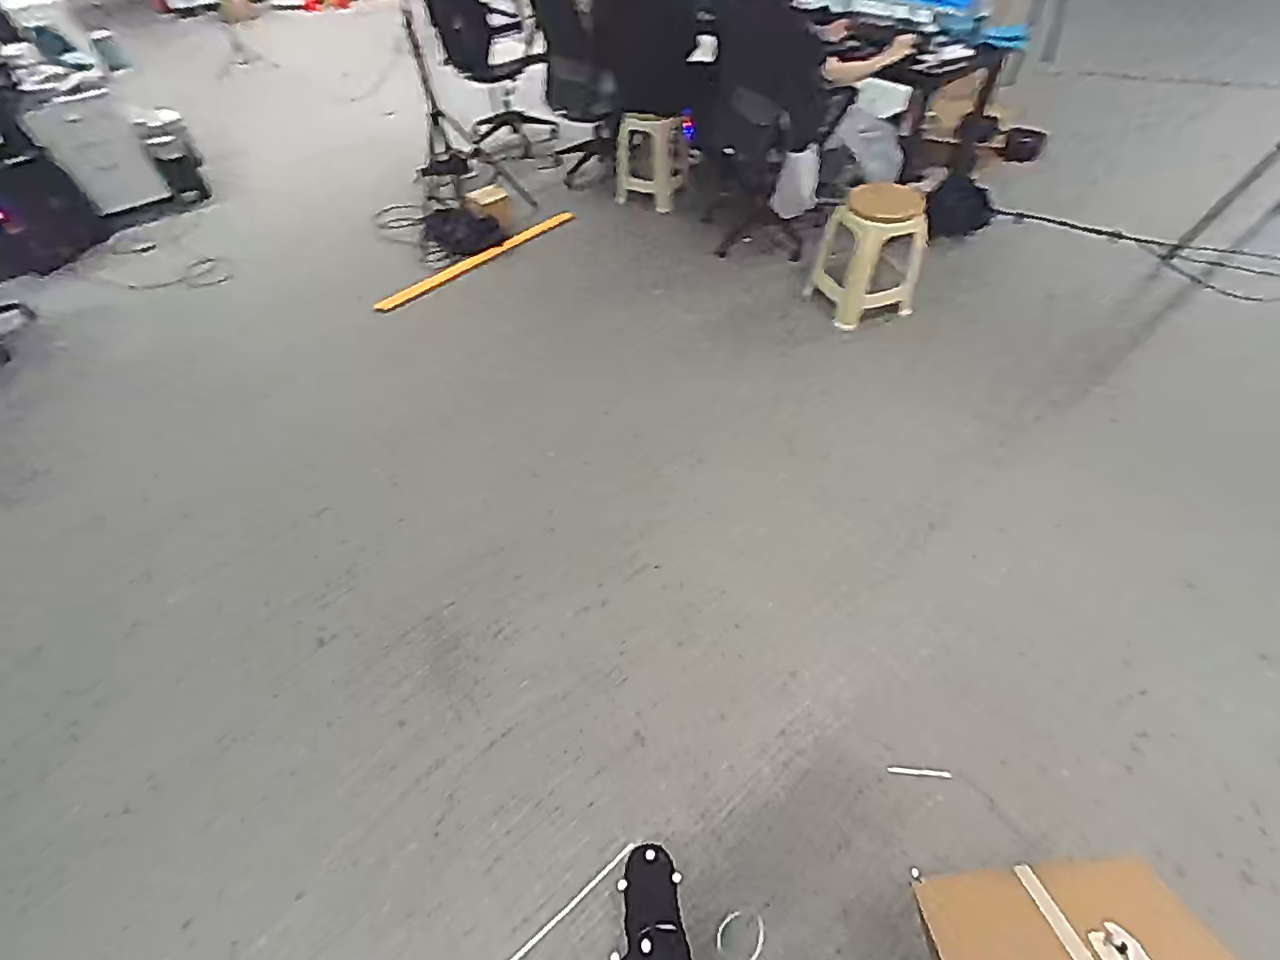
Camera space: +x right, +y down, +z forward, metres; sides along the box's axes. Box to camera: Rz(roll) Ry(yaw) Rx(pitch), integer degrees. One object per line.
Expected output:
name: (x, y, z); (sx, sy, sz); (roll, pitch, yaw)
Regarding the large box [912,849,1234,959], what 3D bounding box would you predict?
large box: (0.580, 0.740, 0.620); (0.320, 0.408, 0.320); (-16, 93, 10)
